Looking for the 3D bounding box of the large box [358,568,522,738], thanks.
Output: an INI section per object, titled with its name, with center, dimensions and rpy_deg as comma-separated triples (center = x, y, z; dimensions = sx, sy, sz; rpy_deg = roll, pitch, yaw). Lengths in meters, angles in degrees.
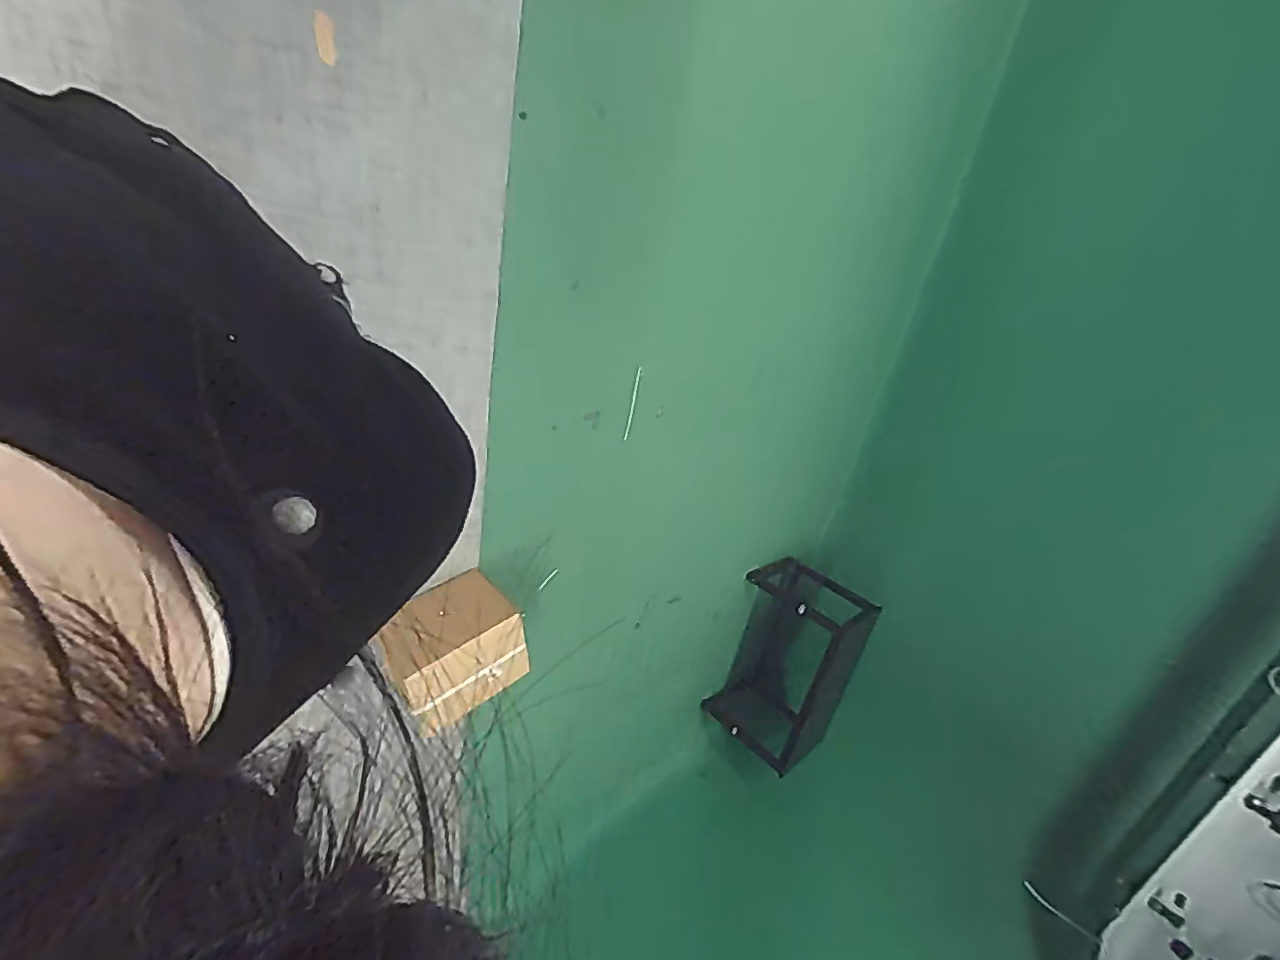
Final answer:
[large box]
center = -0.675, 0.575, 1.861
dimensions = 0.408, 0.320, 0.320
rpy_deg = -28, 133, -37
